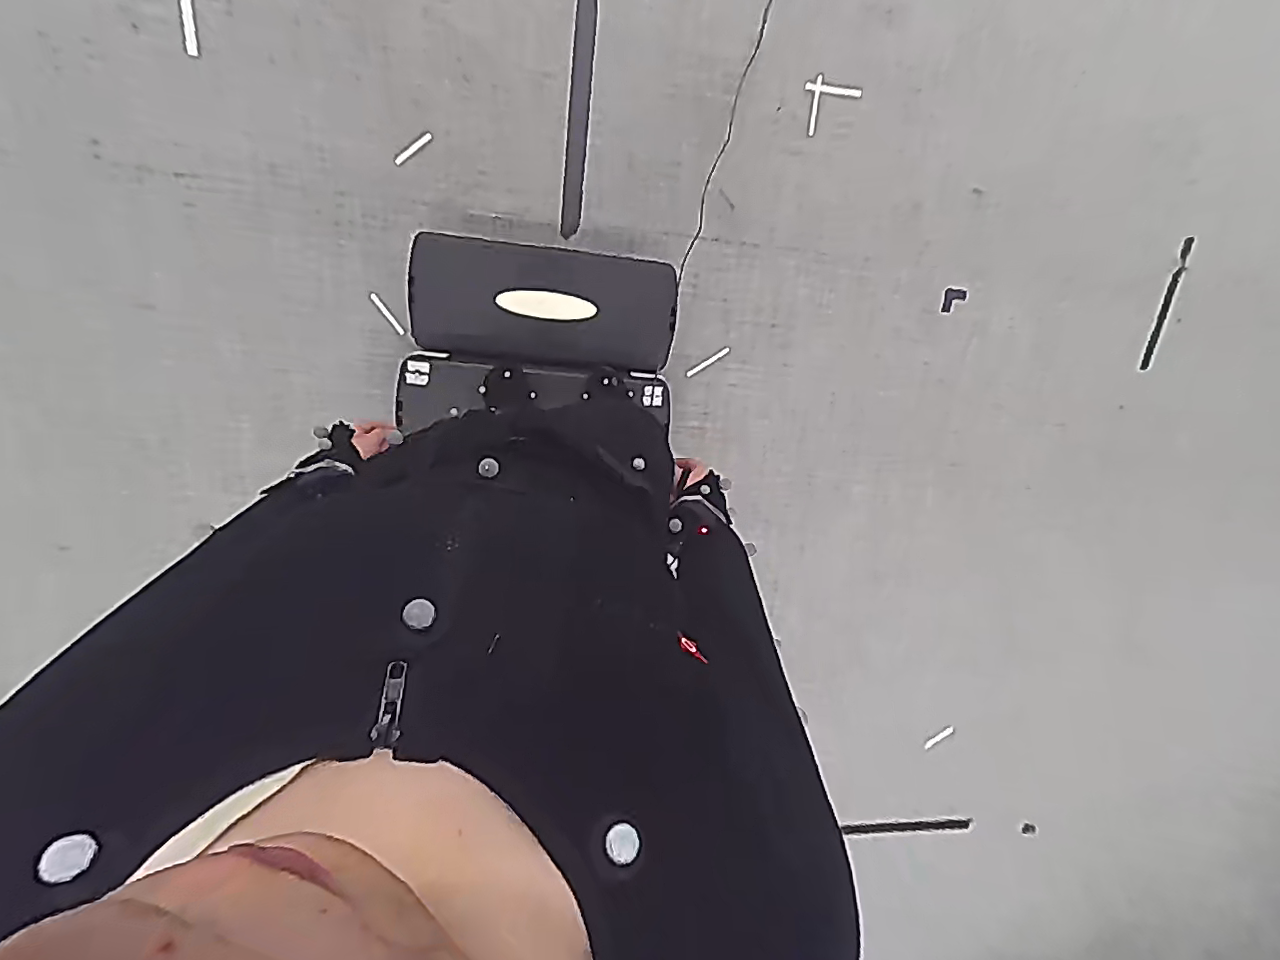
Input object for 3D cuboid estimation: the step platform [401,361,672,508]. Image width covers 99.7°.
[{"bbox_3d":[-0.257,-0.117,1.424,0.684,0.204,0.286,8,102,-8],"label":"step platform"}]
